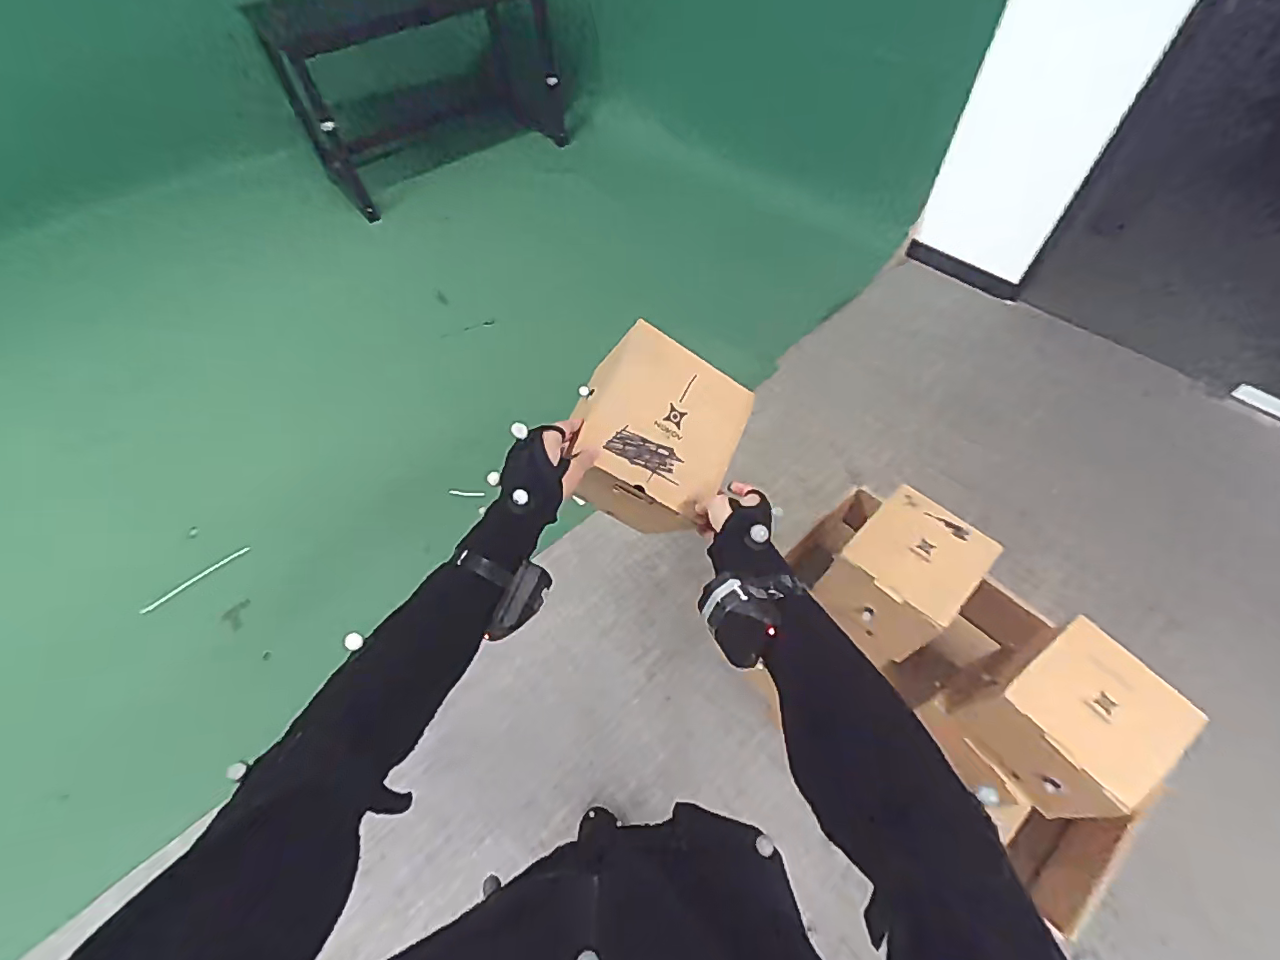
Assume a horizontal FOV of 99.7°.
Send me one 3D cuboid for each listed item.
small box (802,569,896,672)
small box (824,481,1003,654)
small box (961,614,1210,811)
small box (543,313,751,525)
[{"bbox_3d":[0.424,0.219,0.995,0.179,0.176,0.168,-40,63,-21],"label":"small box"},{"bbox_3d":[0.412,0.143,0.850,0.179,0.176,0.168,-40,64,-20],"label":"small box"},{"bbox_3d":[0.574,0.319,0.730,0.179,0.176,0.168,-31,61,-17],"label":"small box"},{"bbox_3d":[-0.002,-0.057,0.654,0.168,0.176,0.179,31,71,-16],"label":"small box"}]
